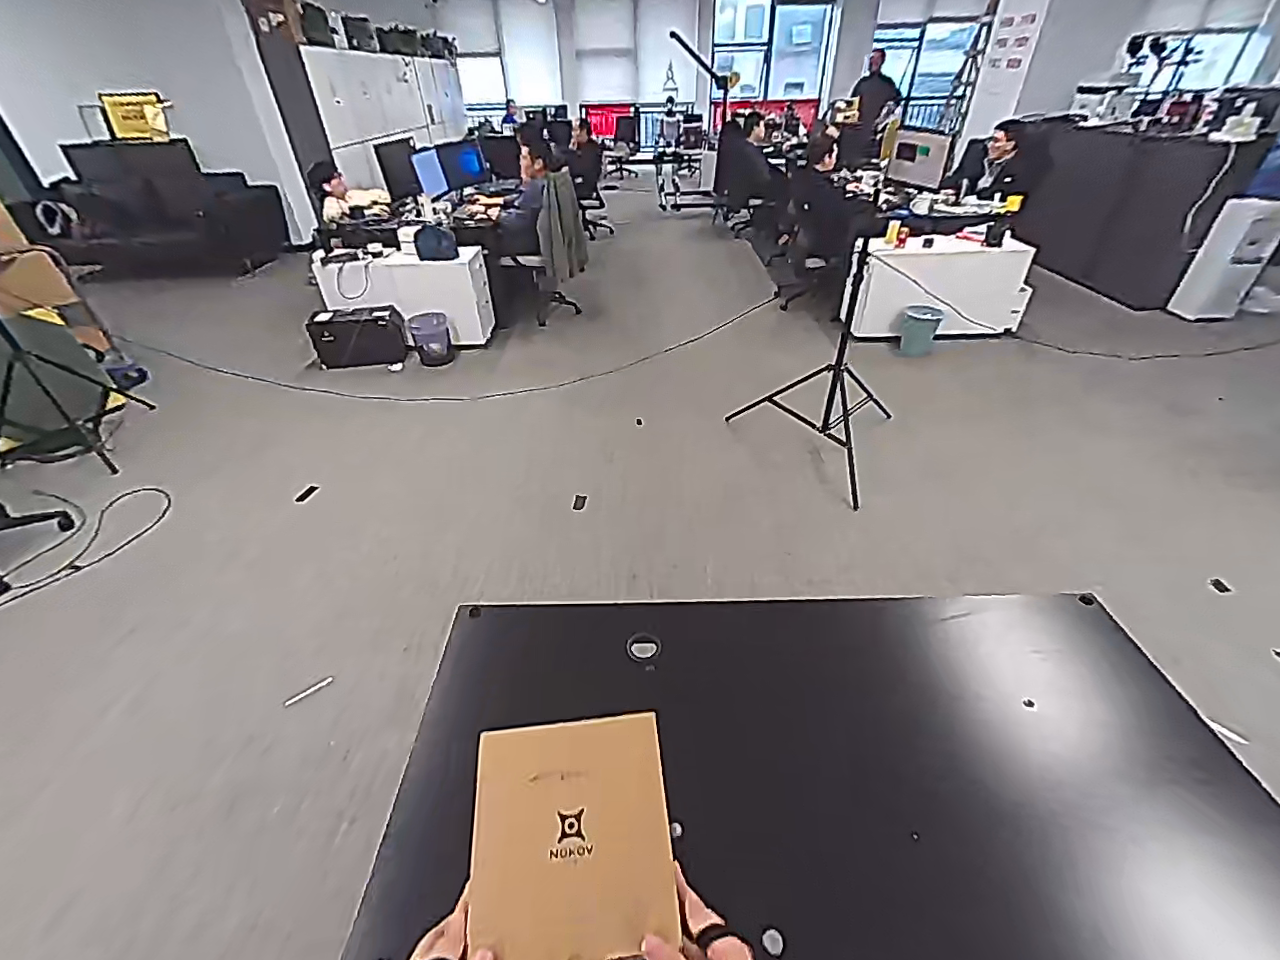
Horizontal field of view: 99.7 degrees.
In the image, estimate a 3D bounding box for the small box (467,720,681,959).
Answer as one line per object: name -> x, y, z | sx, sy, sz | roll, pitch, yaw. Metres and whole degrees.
small box -> -0.056, 0.351, 0.515 | 0.168, 0.176, 0.179 | -5, 50, -5
